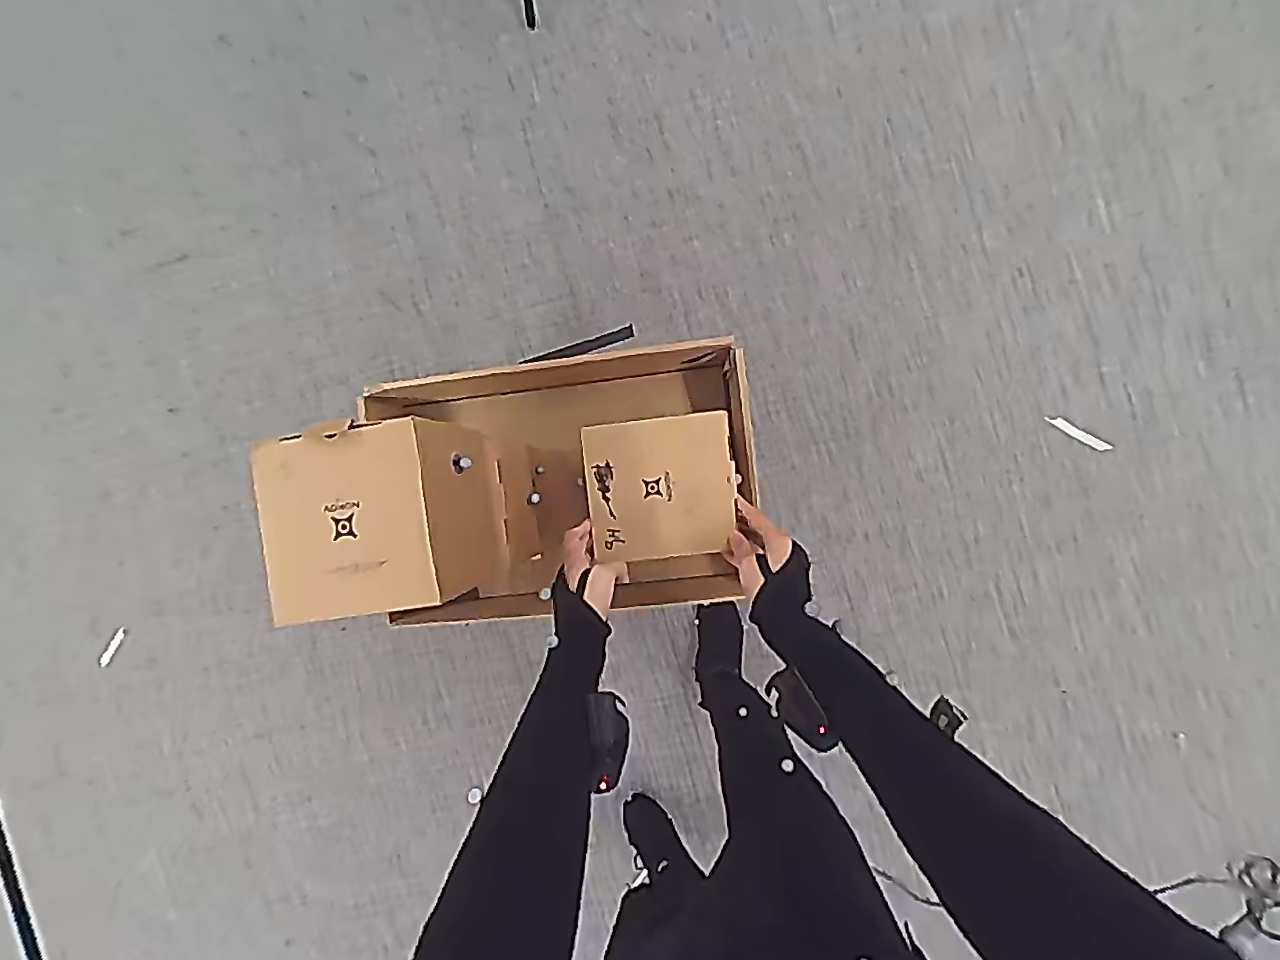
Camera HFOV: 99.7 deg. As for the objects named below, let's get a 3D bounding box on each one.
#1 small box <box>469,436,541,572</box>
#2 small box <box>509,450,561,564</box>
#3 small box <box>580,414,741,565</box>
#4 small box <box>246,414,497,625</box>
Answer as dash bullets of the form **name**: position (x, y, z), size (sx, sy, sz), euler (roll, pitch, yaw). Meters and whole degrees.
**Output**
- **small box**: position (-0.246, 0.037, 0.732), size (0.179, 0.176, 0.168), euler (-6, 90, 4)
- **small box**: position (-0.236, 0.044, 0.896), size (0.168, 0.176, 0.179), euler (-8, 89, 4)
- **small box**: position (0.028, 0.009, 0.705), size (0.179, 0.176, 0.168), euler (-6, 90, 4)
- **small box**: position (-0.265, 0.039, 0.569), size (0.168, 0.176, 0.179), euler (-9, 89, 6)
